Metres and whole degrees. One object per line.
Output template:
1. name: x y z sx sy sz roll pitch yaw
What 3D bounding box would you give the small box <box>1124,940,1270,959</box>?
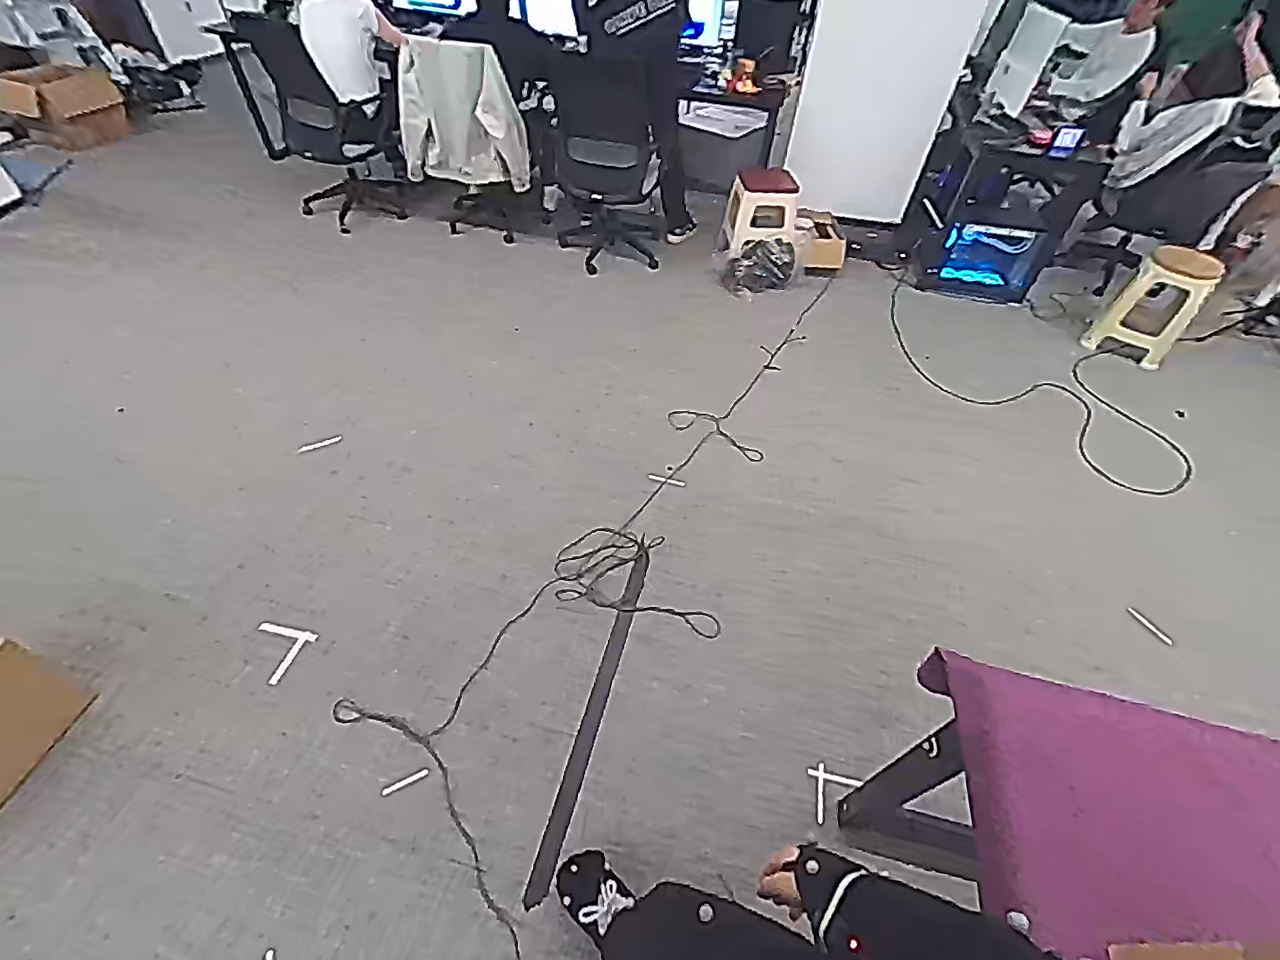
1. small box: 0.581 0.546 0.480 0.179 0.176 0.168 14 49 7
